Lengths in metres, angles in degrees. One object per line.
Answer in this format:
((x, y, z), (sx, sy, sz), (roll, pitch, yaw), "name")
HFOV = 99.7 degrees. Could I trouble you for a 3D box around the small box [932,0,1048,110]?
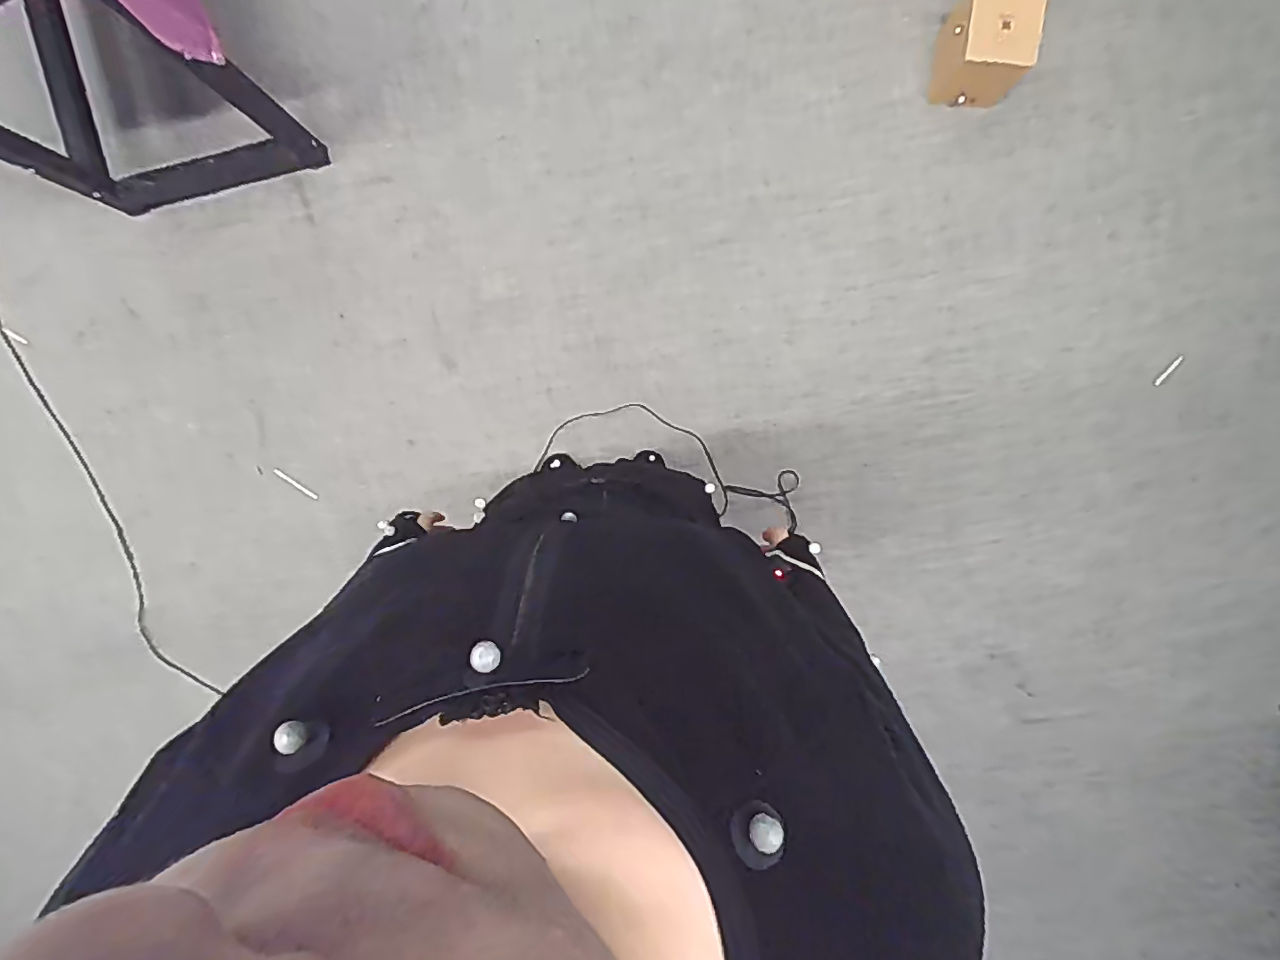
((0.846, -1.053, 1.322), (0.168, 0.176, 0.179), (7, 95, 1), "small box")
